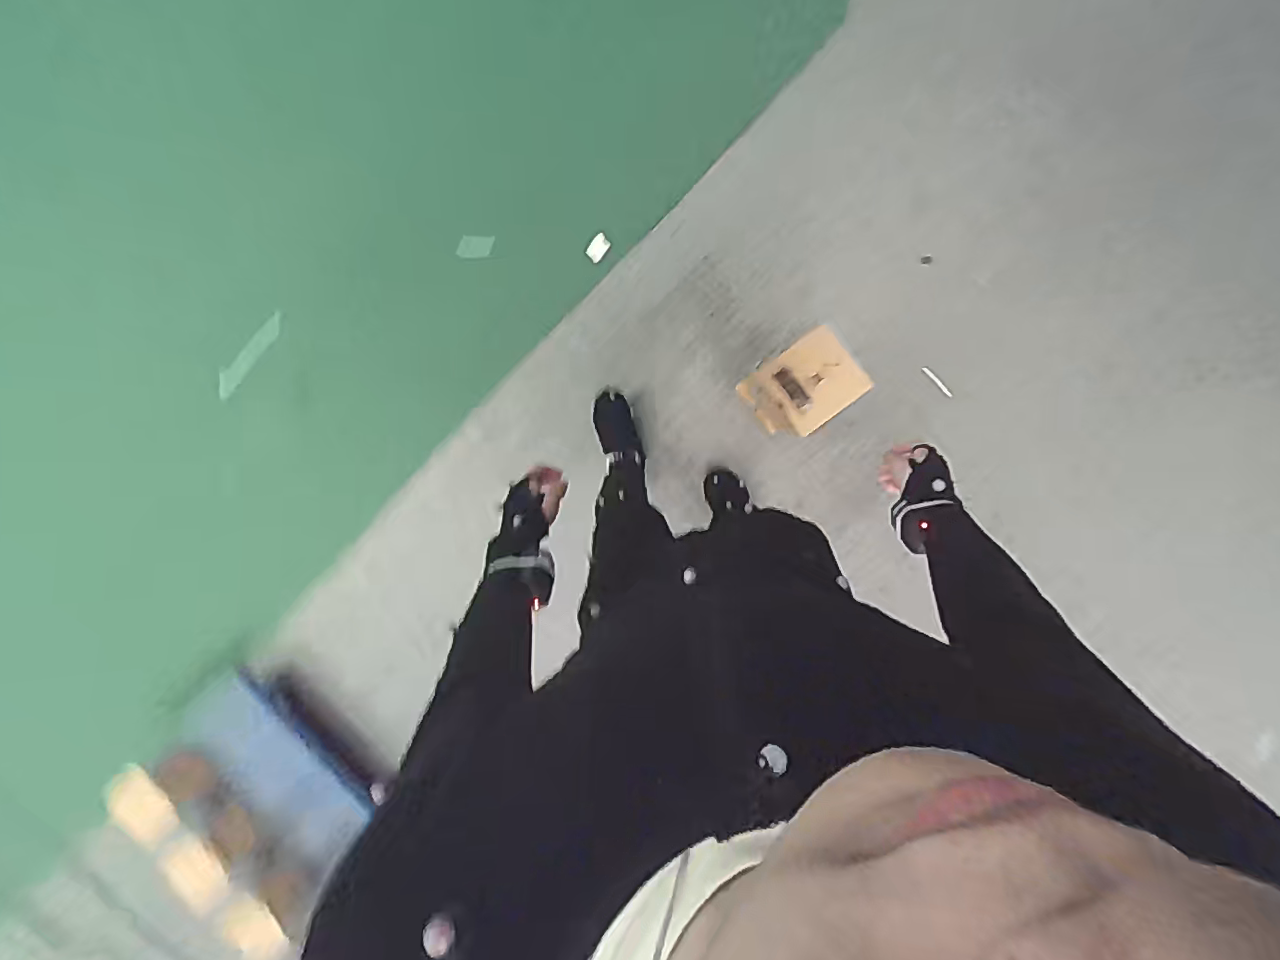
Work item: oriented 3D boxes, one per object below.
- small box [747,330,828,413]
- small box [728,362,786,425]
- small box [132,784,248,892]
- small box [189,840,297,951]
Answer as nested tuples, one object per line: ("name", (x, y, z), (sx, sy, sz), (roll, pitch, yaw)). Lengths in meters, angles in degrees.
("small box", (0.355, -0.259, 1.323), (0.168, 0.176, 0.179), (-5, 97, 8))
("small box", (0.356, -0.265, 1.478), (0.179, 0.176, 0.168), (-37, 93, 8))
("small box", (-1.345, 1.071, 1.629), (0.179, 0.176, 0.168), (-38, 93, 8))
("small box", (-1.187, 1.247, 1.638), (0.179, 0.176, 0.168), (-40, 92, 8))
